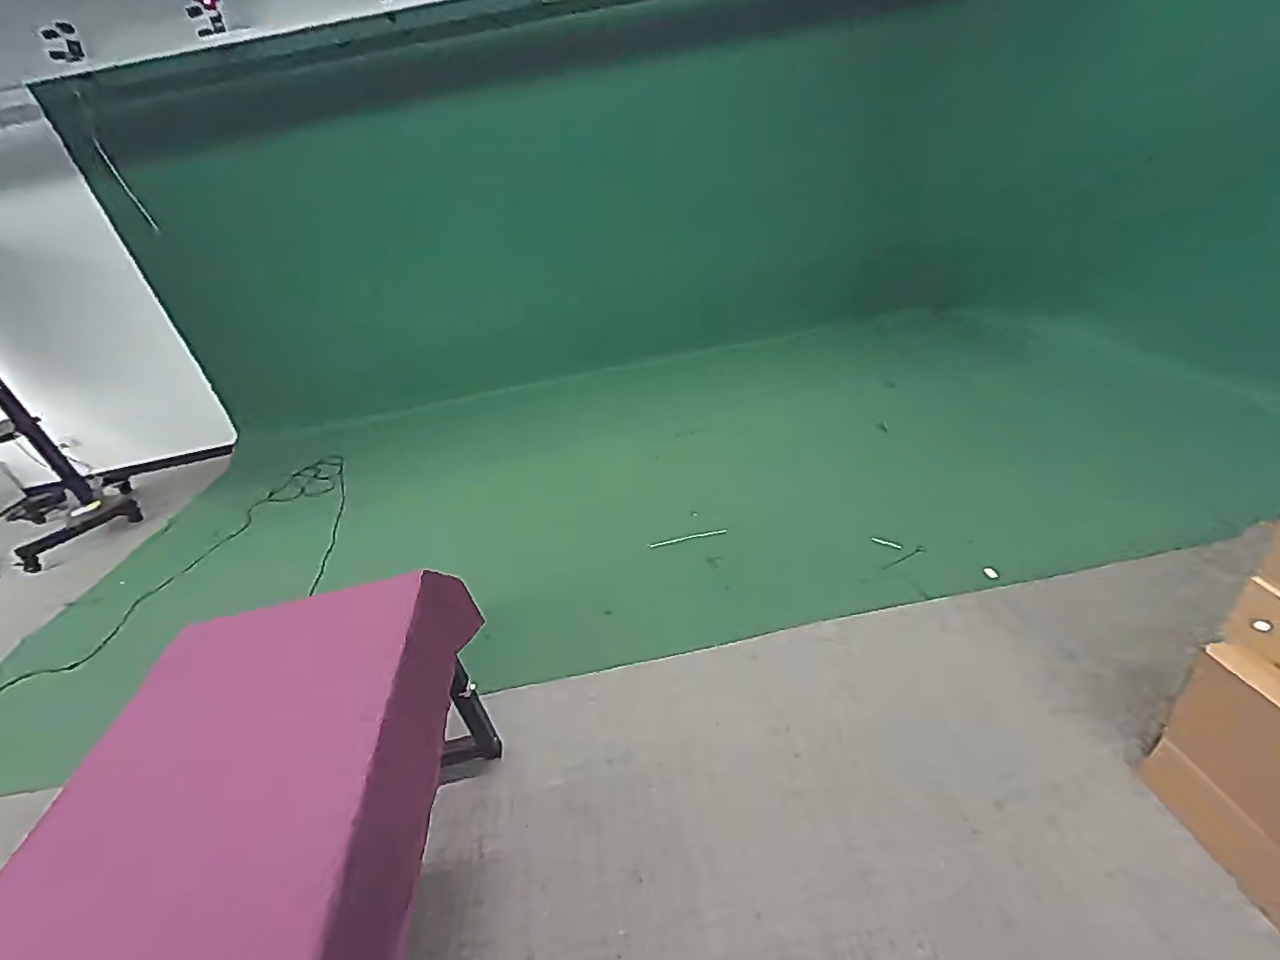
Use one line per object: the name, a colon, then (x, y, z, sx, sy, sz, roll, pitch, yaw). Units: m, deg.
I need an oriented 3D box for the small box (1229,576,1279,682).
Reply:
small box: (1.317, 0.297, 1.048, 0.179, 0.176, 0.168, -10, 31, 0)
